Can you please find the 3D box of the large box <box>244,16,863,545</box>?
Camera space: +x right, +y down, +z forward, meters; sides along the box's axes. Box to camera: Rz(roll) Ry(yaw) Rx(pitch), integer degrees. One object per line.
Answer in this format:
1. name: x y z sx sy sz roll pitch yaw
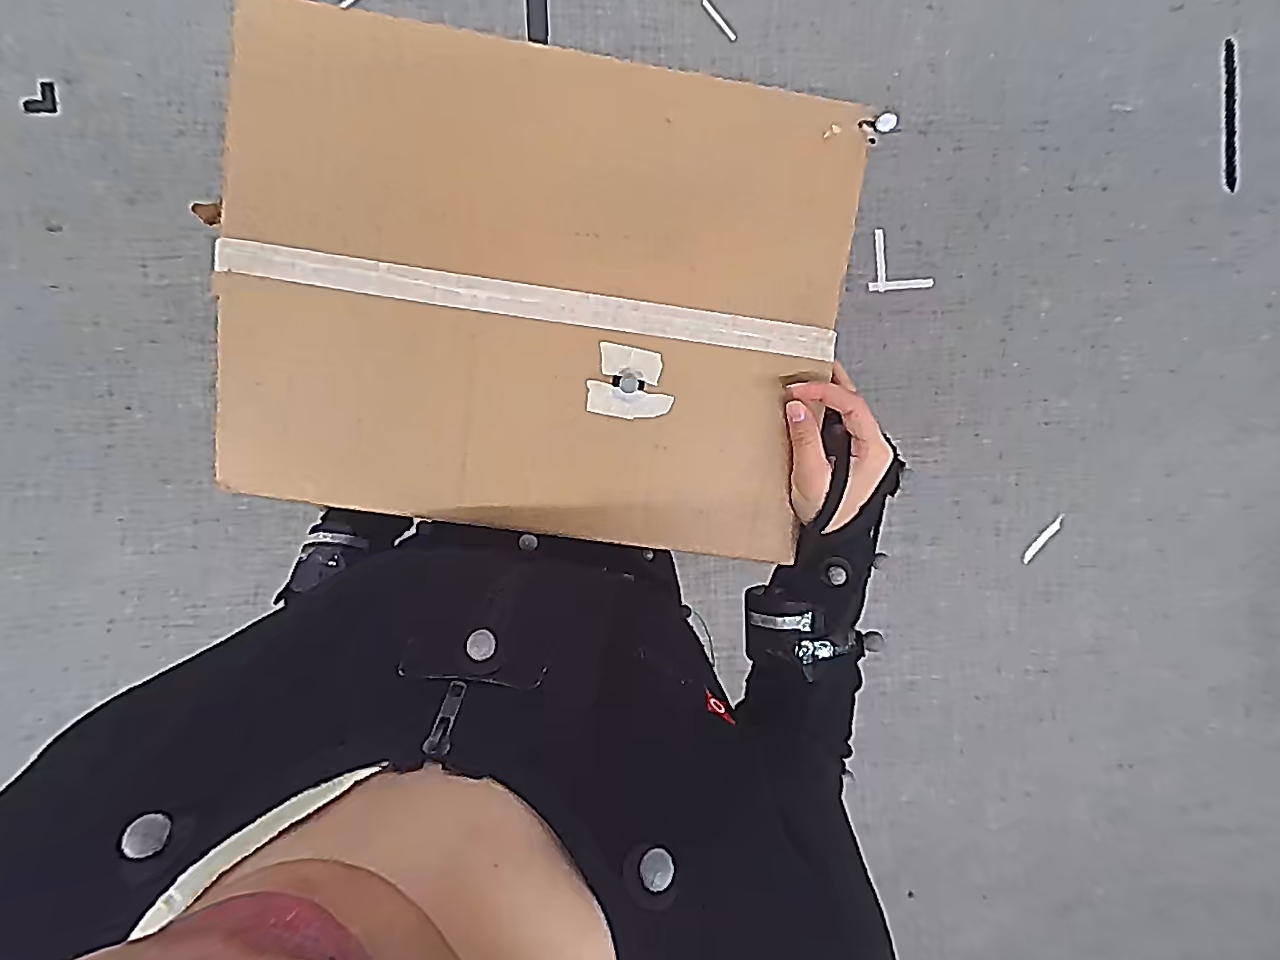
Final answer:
1. large box: -0.071 -0.140 0.518 0.408 0.320 0.320 7 98 -5
